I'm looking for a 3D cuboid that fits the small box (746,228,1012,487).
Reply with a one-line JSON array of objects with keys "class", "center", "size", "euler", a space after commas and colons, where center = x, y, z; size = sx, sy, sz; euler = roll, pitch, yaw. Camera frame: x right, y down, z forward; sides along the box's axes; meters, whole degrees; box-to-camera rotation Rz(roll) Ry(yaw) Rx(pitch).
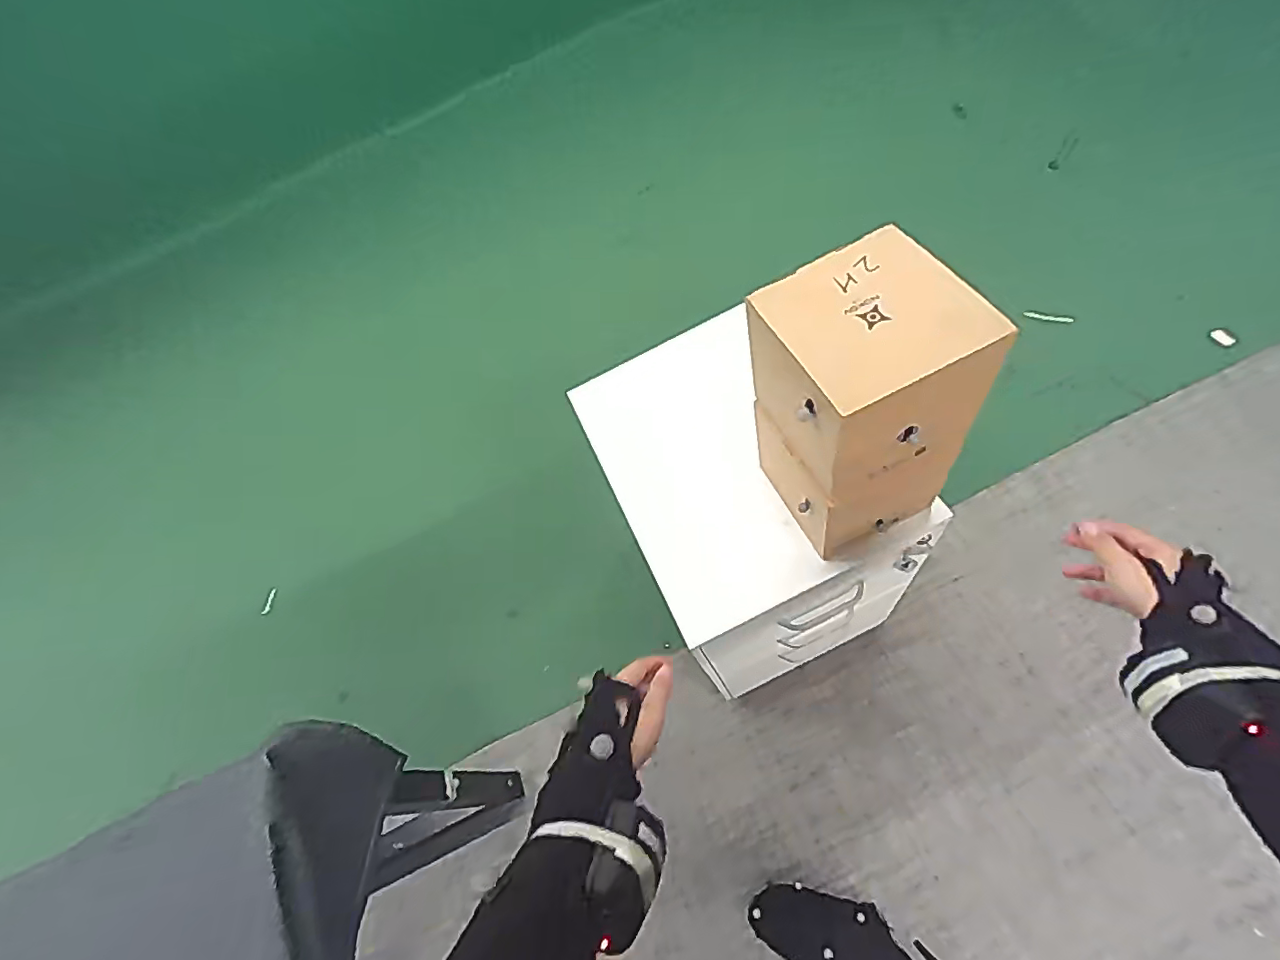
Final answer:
[{"class": "small box", "center": [0.228, -0.114, 0.563], "size": [0.168, 0.176, 0.179], "euler": [-26, 58, 0]}]
